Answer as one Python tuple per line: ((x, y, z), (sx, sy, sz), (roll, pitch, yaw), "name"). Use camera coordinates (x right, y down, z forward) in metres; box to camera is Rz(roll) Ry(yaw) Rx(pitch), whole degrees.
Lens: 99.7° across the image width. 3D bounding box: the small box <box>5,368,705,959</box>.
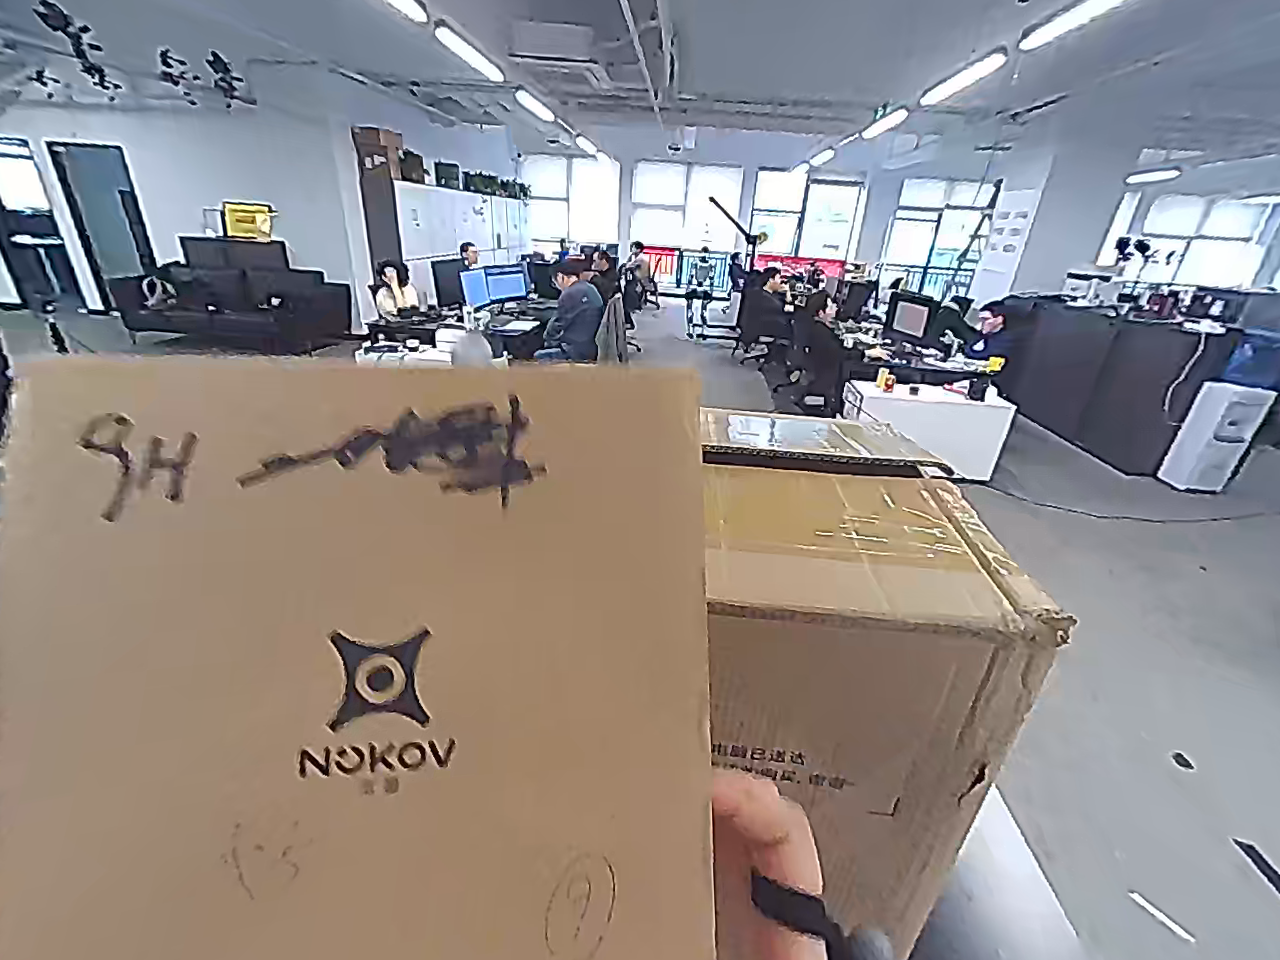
((-0.072, 0.064, 0.216), (0.168, 0.179, 0.176), (0, -4, -7), "small box")
